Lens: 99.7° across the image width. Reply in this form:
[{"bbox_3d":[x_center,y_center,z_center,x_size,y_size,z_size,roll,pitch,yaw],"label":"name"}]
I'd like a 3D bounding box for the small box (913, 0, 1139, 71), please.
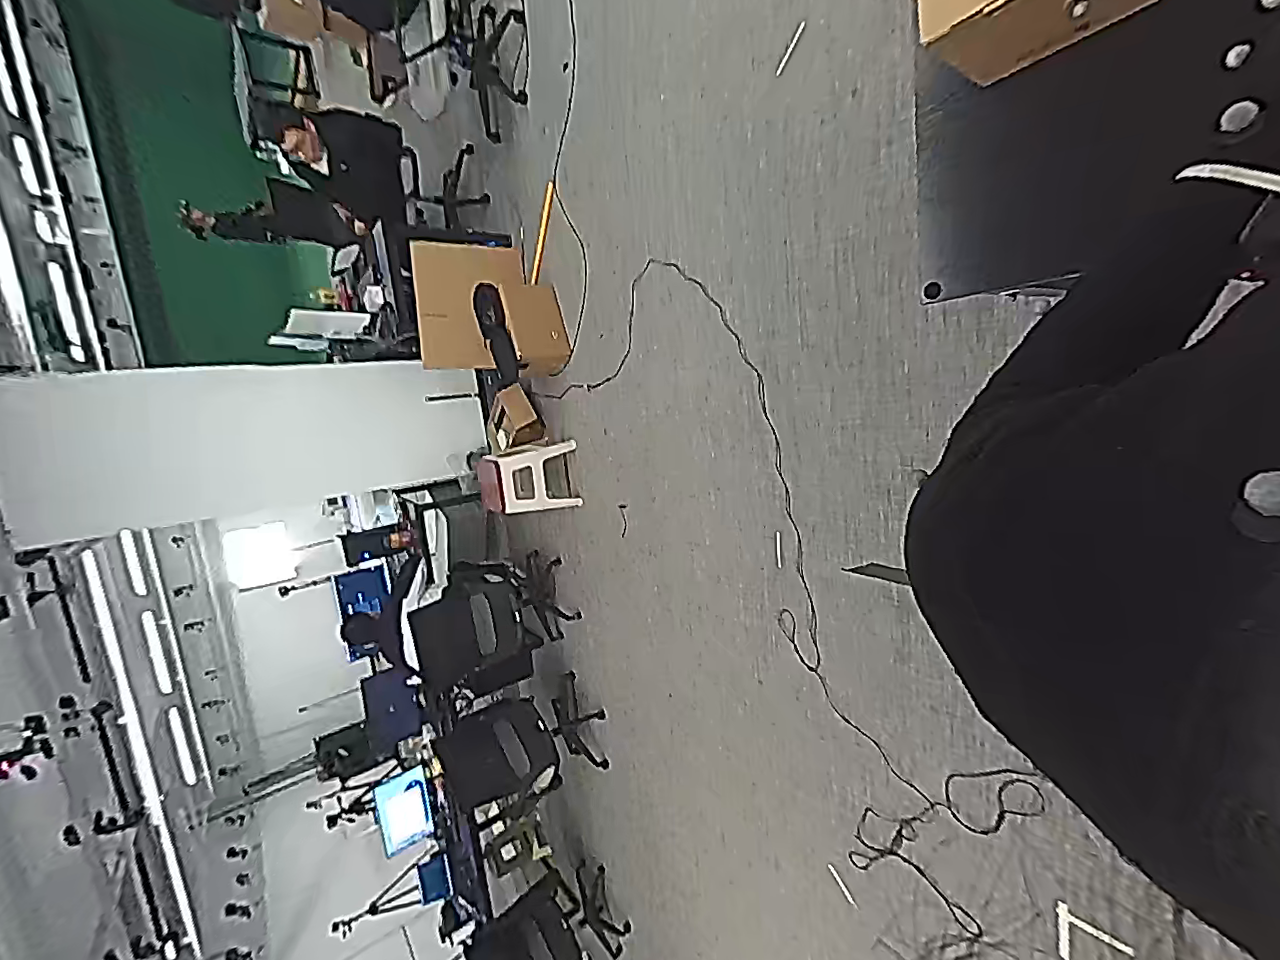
[{"bbox_3d":[0.396,-0.555,0.546,0.168,0.176,0.179,2,101,52],"label":"small box"}]
